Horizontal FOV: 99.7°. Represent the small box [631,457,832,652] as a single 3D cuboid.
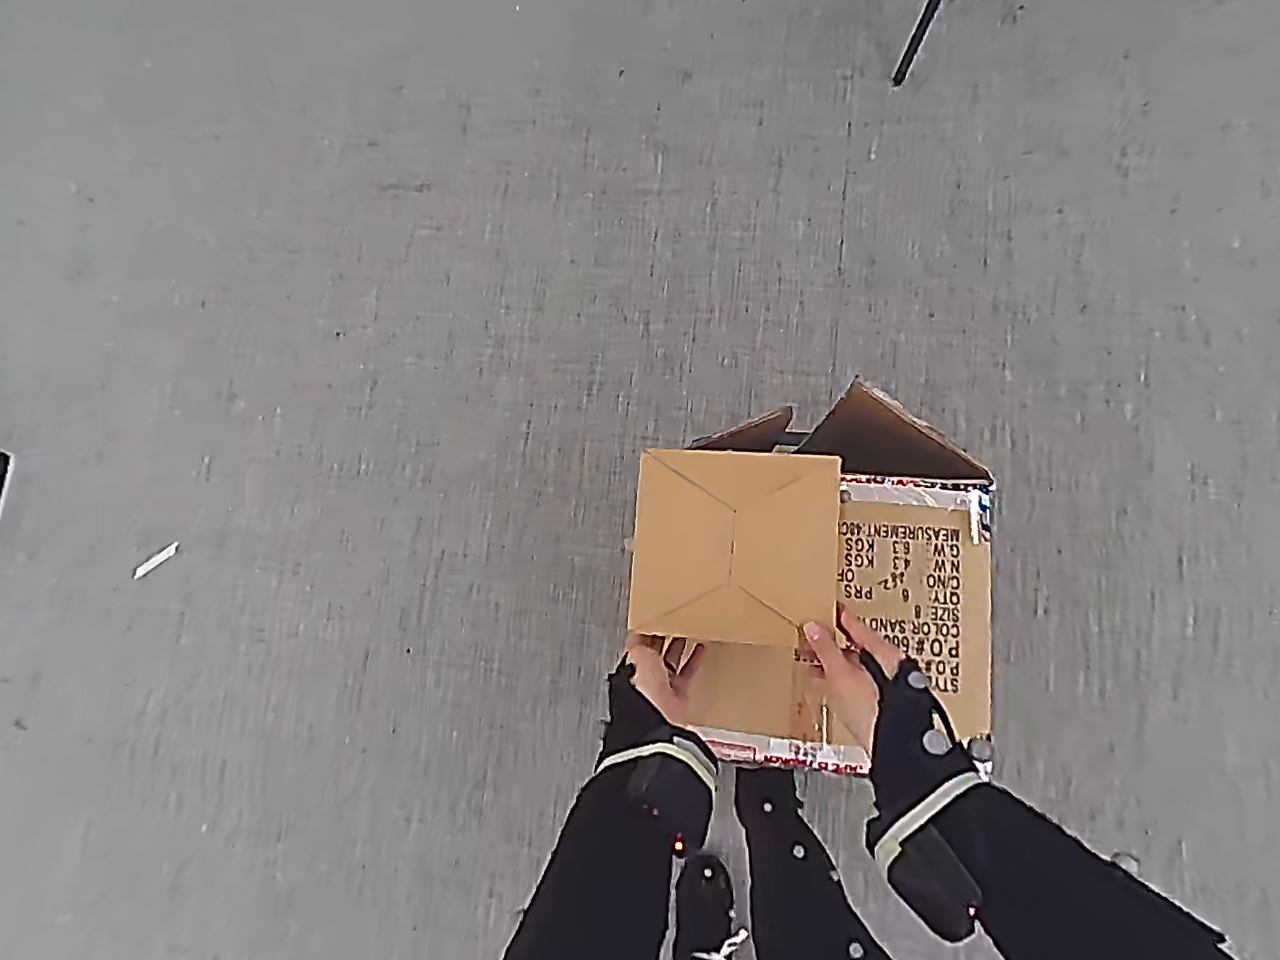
[{"bbox_3d":[0.094,0.070,0.552,0.179,0.176,0.168,3,85,9],"label":"small box"}]
